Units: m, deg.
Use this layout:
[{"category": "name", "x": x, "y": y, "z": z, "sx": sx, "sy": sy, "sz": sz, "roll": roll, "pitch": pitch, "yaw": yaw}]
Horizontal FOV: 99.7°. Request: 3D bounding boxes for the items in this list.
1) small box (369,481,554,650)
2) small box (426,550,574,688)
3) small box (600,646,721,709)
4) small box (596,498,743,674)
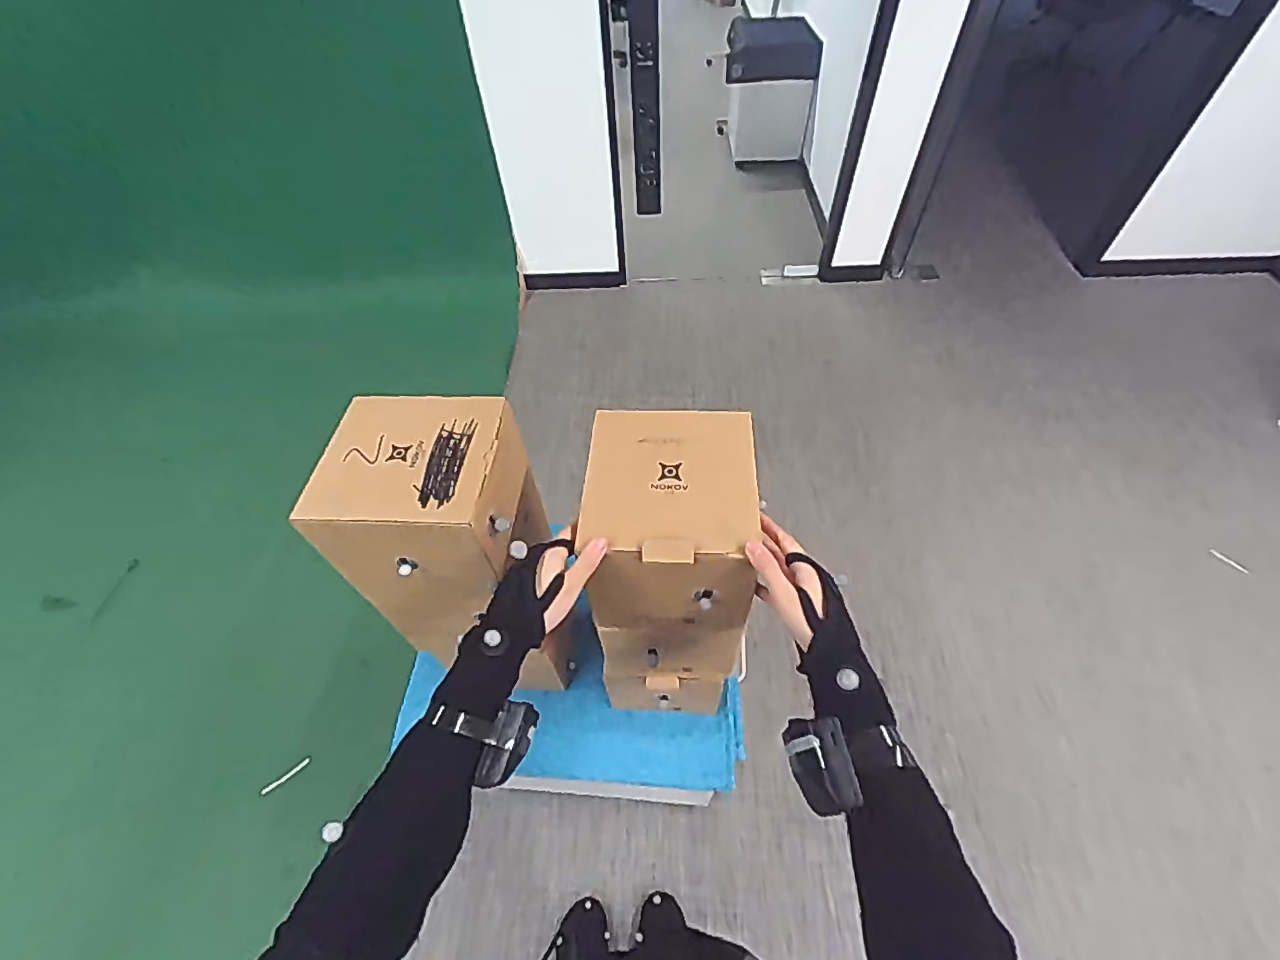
[{"category": "small box", "x": -0.220, "y": 0.119, "z": 0.727, "sx": 0.179, "sy": 0.176, "sz": 0.168, "roll": 1, "pitch": 52, "yaw": 3}, {"category": "small box", "x": -0.205, "y": 0.220, "z": 0.856, "sx": 0.179, "sy": 0.176, "sz": 0.168, "roll": 1, "pitch": 52, "yaw": 4}, {"category": "small box", "x": 0.037, "y": 0.241, "z": 0.831, "sx": 0.168, "sy": 0.176, "sz": 0.179, "roll": 2, "pitch": 53, "yaw": 4}, {"category": "small box", "x": 0.039, "y": 0.142, "z": 0.703, "sx": 0.168, "sy": 0.176, "sz": 0.179, "roll": -1, "pitch": 52, "yaw": 3}]
